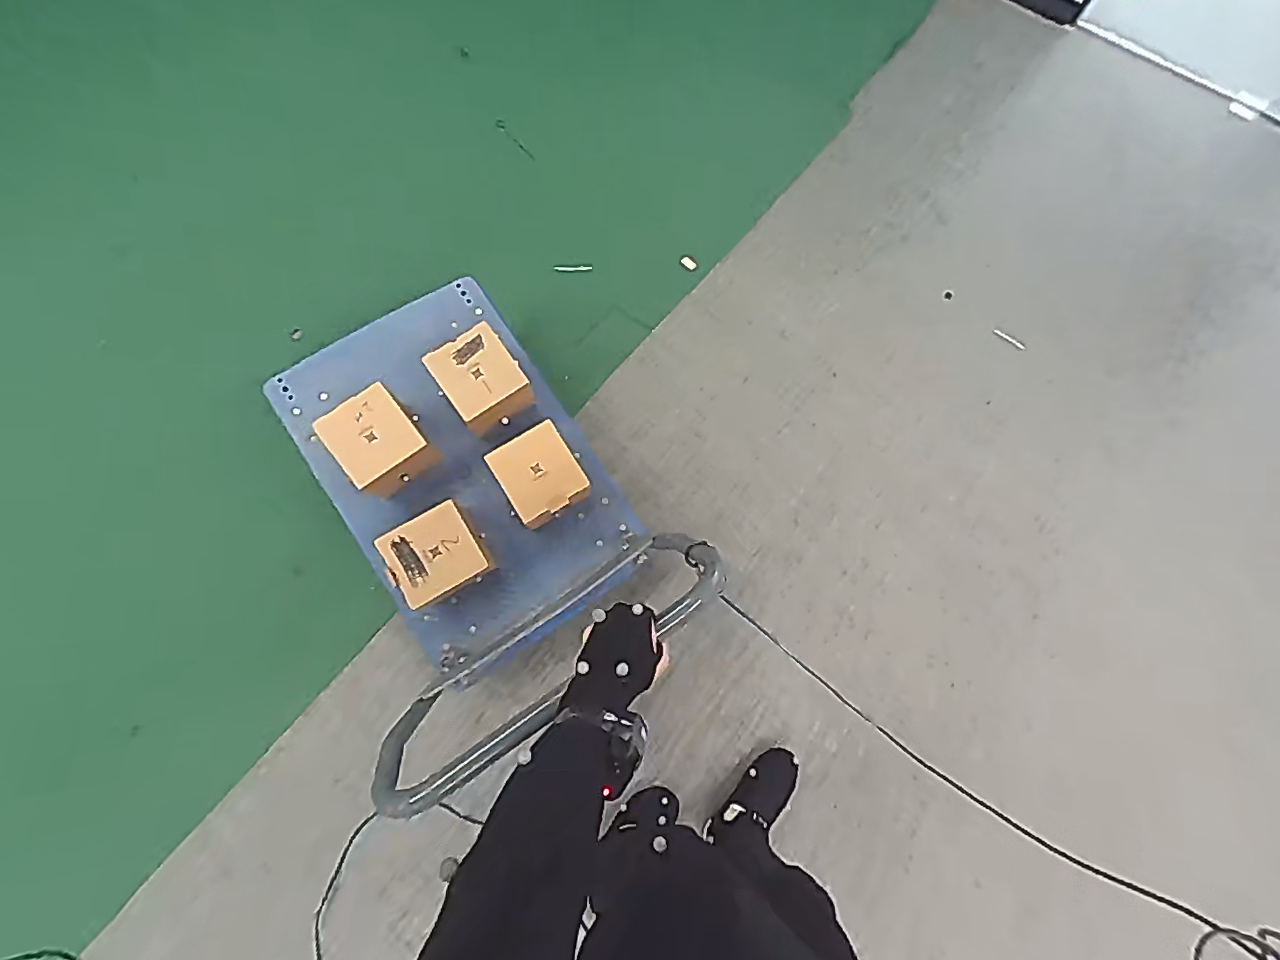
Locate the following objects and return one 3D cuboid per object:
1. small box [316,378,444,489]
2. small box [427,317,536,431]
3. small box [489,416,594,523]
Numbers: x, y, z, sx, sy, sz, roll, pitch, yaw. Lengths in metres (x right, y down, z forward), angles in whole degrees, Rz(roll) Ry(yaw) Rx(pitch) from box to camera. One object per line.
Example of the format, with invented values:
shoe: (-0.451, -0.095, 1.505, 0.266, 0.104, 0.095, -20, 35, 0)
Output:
small box: (-0.564, -0.092, 1.203, 0.168, 0.176, 0.179, -37, 87, -11)
small box: (-0.357, -0.236, 1.250, 0.168, 0.176, 0.179, -35, 88, -10)
small box: (-0.221, -0.016, 1.235, 0.168, 0.176, 0.179, -32, 87, -10)
